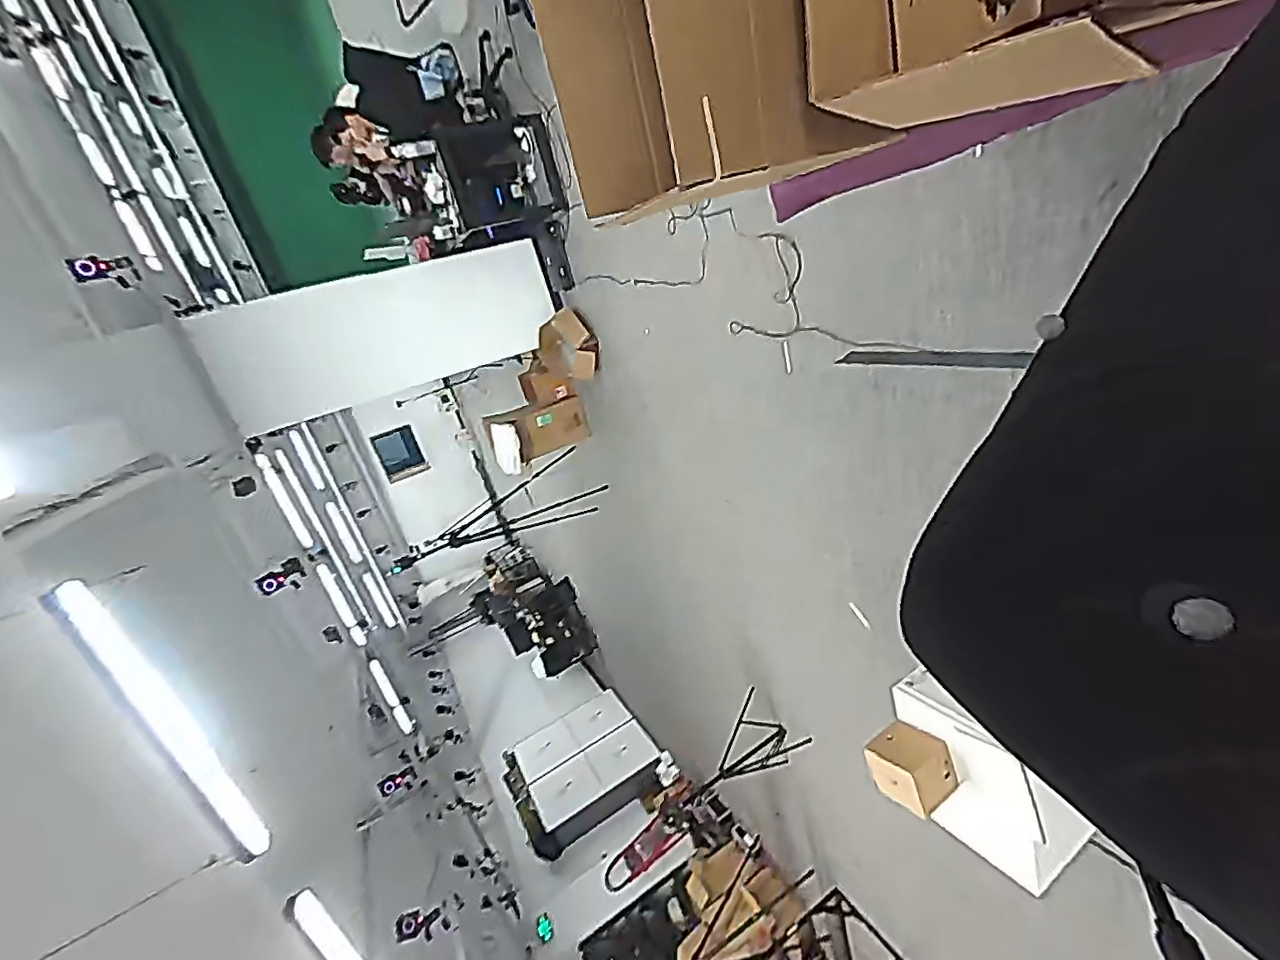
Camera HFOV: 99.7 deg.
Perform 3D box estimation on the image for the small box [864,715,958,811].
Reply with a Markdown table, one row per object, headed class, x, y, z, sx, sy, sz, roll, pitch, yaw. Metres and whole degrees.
| class | x | y | z | sx | sy | sz | roll | pitch | yaw |
| --- | --- | --- | --- | --- | --- | --- | --- | --- | --- |
| small box | 0.837 | 0.861 | 1.671 | 0.179 | 0.176 | 0.168 | 0 | 114 | 65 |
